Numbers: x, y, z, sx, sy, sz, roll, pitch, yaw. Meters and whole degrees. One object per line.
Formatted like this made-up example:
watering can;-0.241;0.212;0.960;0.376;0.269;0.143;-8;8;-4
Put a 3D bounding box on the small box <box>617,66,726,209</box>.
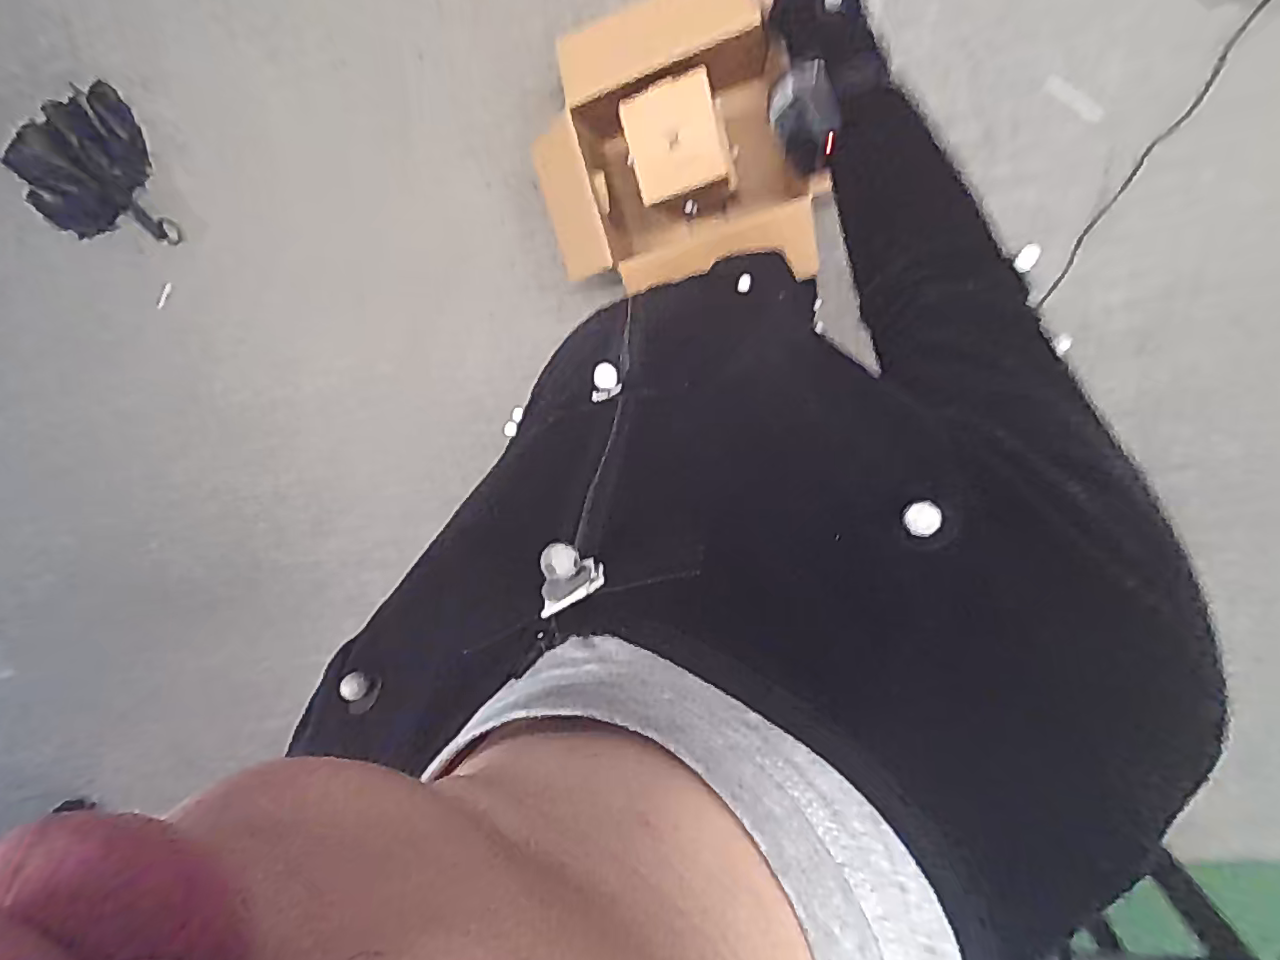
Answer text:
small box;0.070;-0.656;1.060;0.168;0.176;0.179;-13;108;16
